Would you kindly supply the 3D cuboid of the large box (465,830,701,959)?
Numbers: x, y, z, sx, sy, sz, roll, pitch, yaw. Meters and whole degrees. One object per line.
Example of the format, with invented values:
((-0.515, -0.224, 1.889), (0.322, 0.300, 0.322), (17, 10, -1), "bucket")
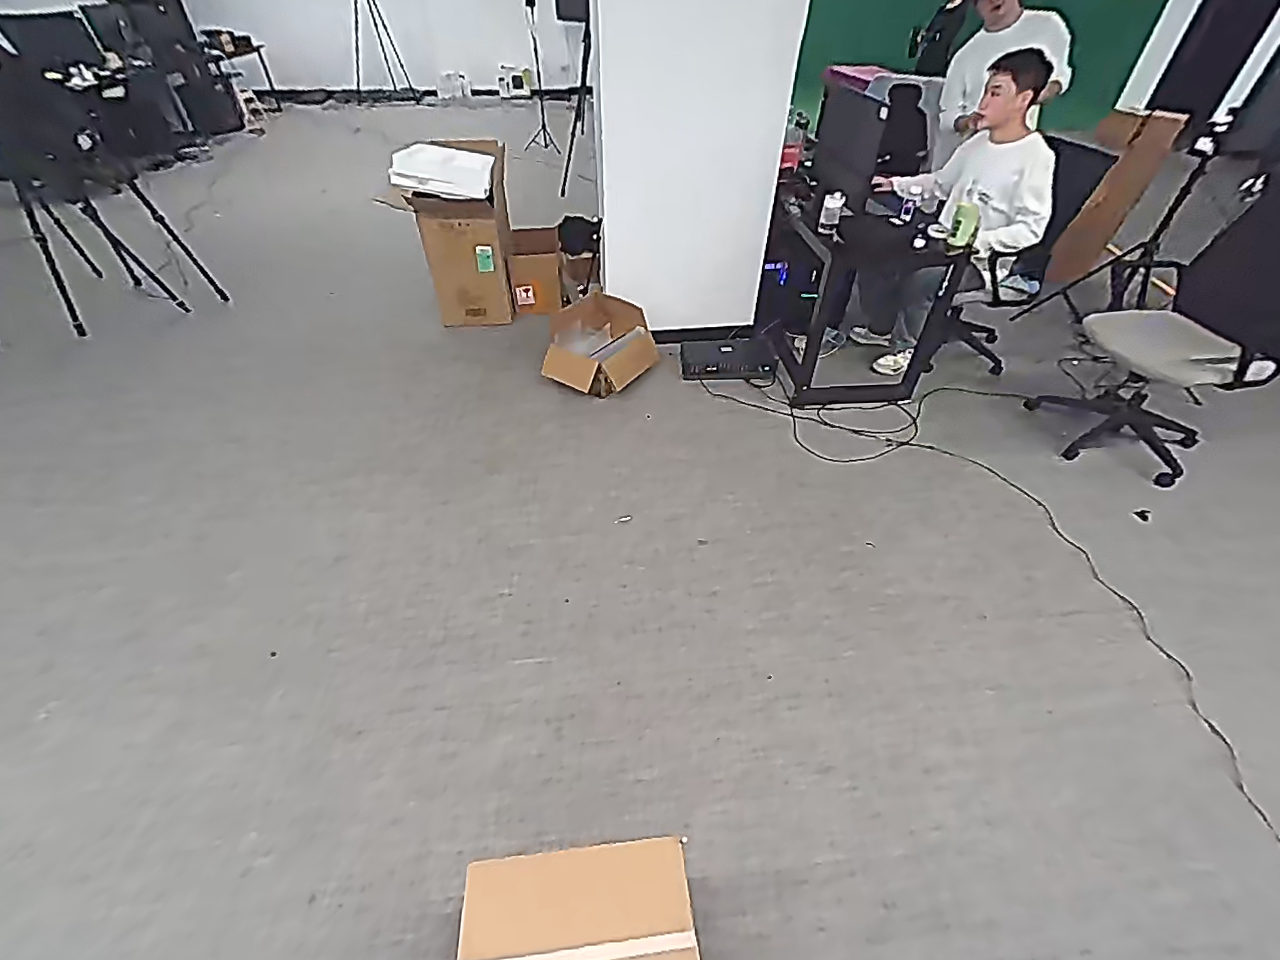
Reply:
((-0.102, 0.908, 1.018), (0.408, 0.320, 0.320), (-3, 43, -6), "large box")
